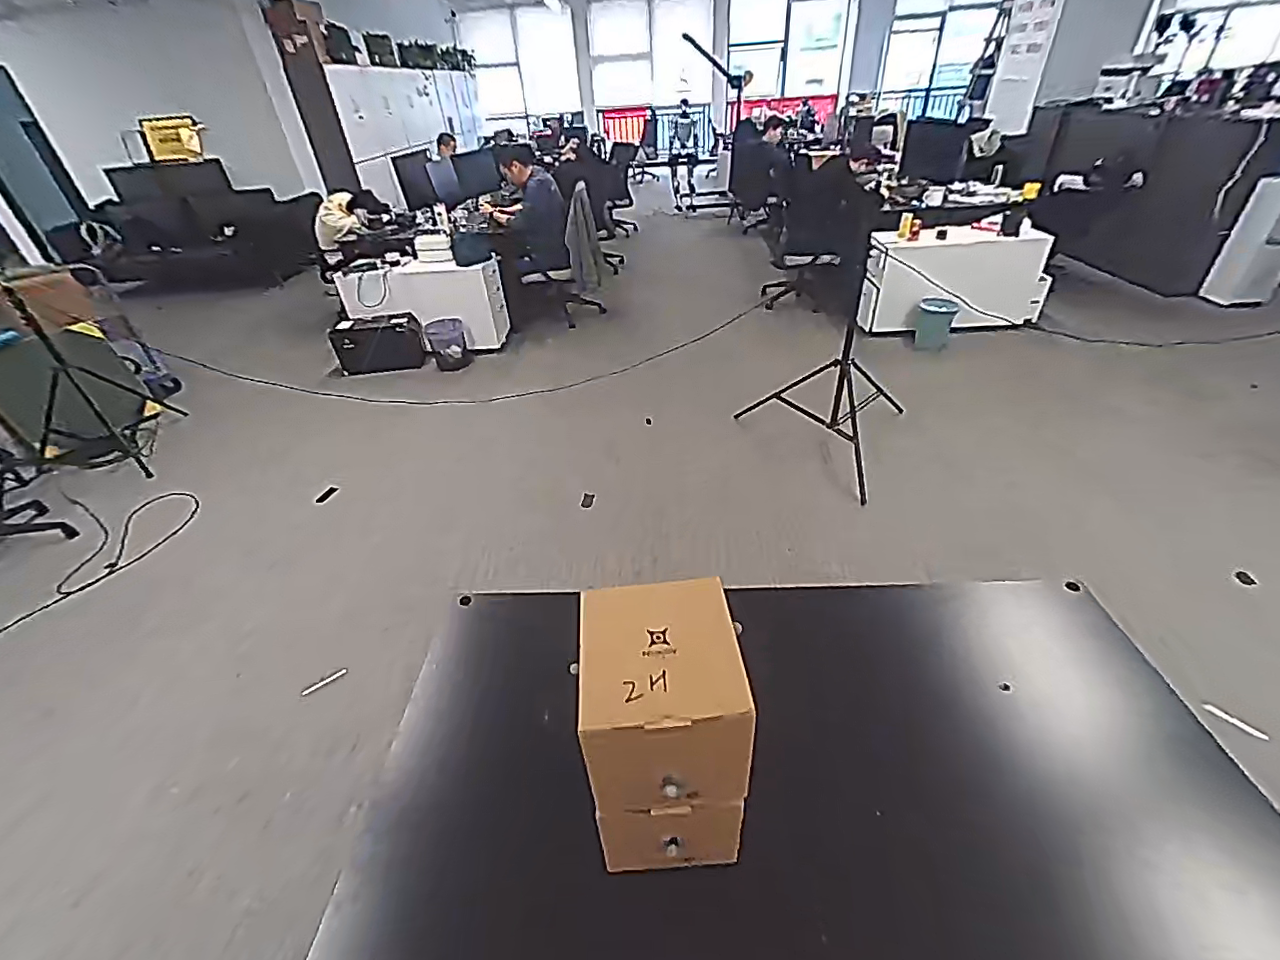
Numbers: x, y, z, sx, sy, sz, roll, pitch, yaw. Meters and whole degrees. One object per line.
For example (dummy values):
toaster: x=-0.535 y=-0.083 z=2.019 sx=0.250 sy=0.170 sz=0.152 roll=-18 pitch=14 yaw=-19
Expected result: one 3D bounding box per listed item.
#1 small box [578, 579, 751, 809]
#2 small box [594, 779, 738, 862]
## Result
small box: x=0.023 y=0.239 z=0.617 sx=0.168 sy=0.176 sz=0.179 roll=-6 pitch=36 yaw=-1
small box: x=0.033 y=0.376 z=0.711 sx=0.168 sy=0.176 sz=0.179 roll=-5 pitch=36 yaw=0
